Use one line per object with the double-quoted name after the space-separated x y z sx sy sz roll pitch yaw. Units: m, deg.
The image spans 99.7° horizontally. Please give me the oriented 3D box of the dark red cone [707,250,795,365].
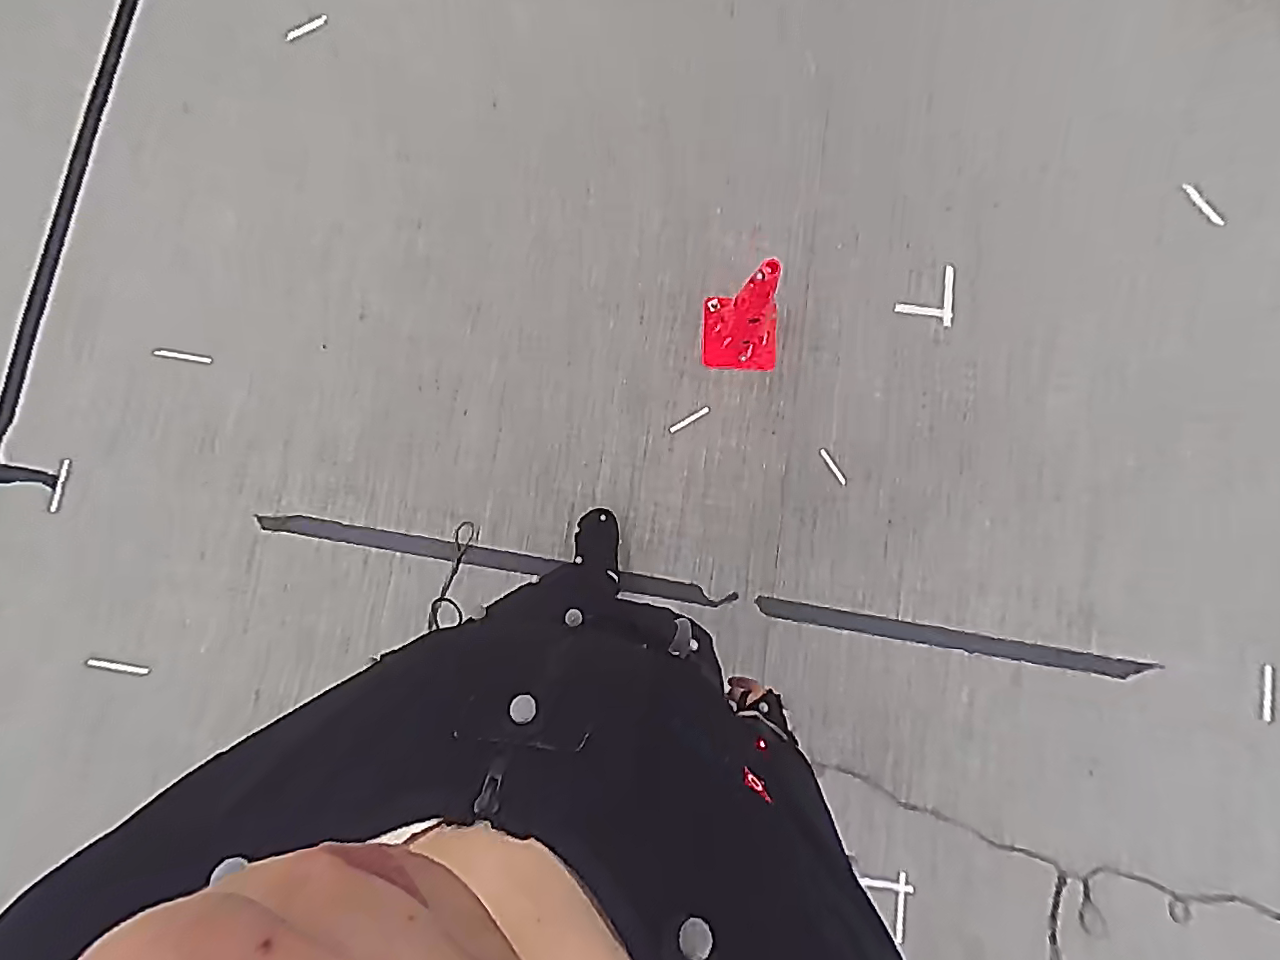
0.276 -0.414 1.241 0.202 0.394 0.201 2 84 0 "dark red cone"
